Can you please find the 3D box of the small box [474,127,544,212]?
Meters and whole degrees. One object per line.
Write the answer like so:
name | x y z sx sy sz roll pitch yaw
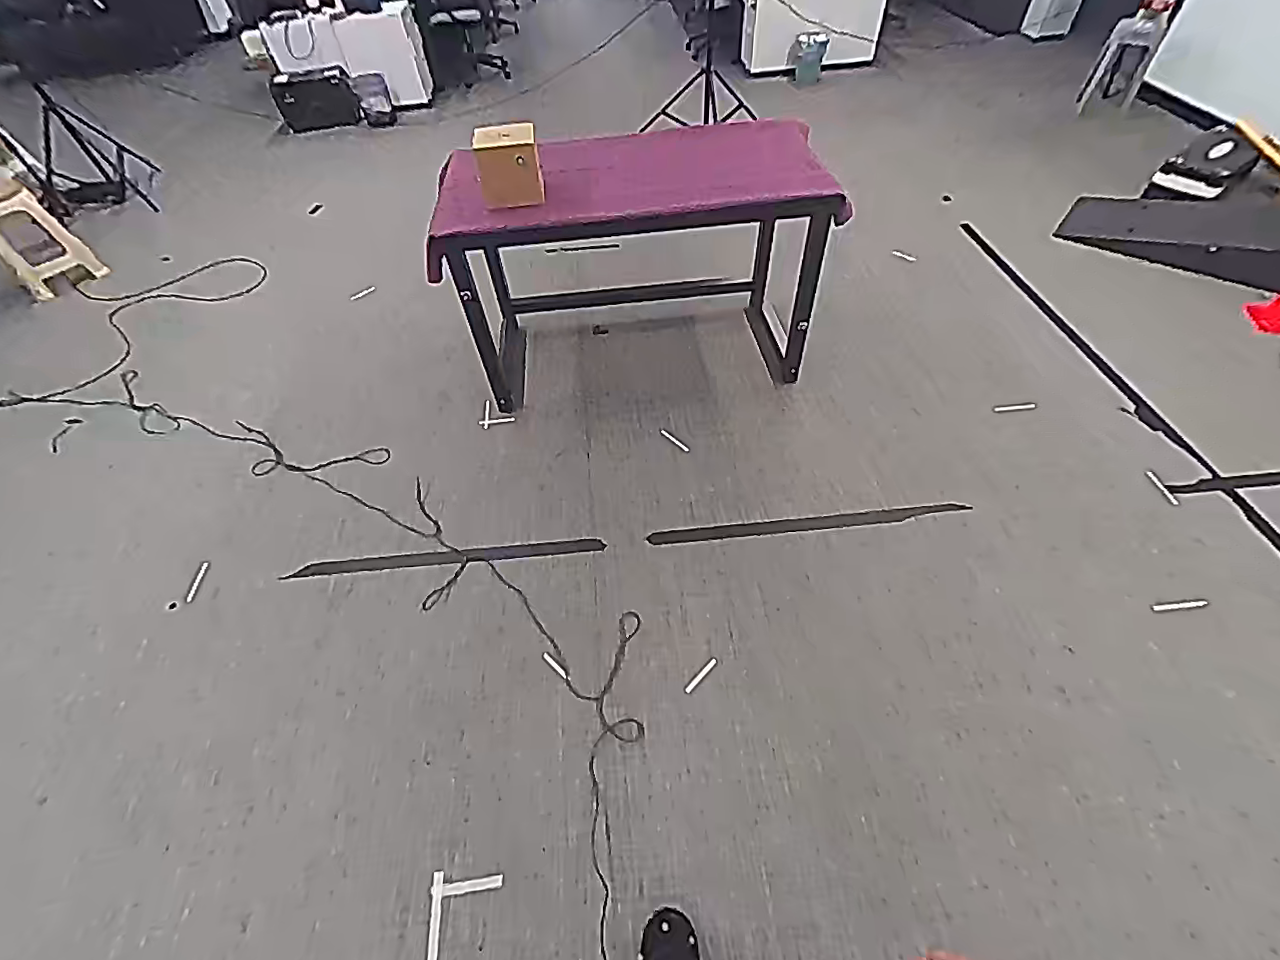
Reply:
small box | -0.384 -0.927 1.616 0.179 0.176 0.168 -8 50 -3
